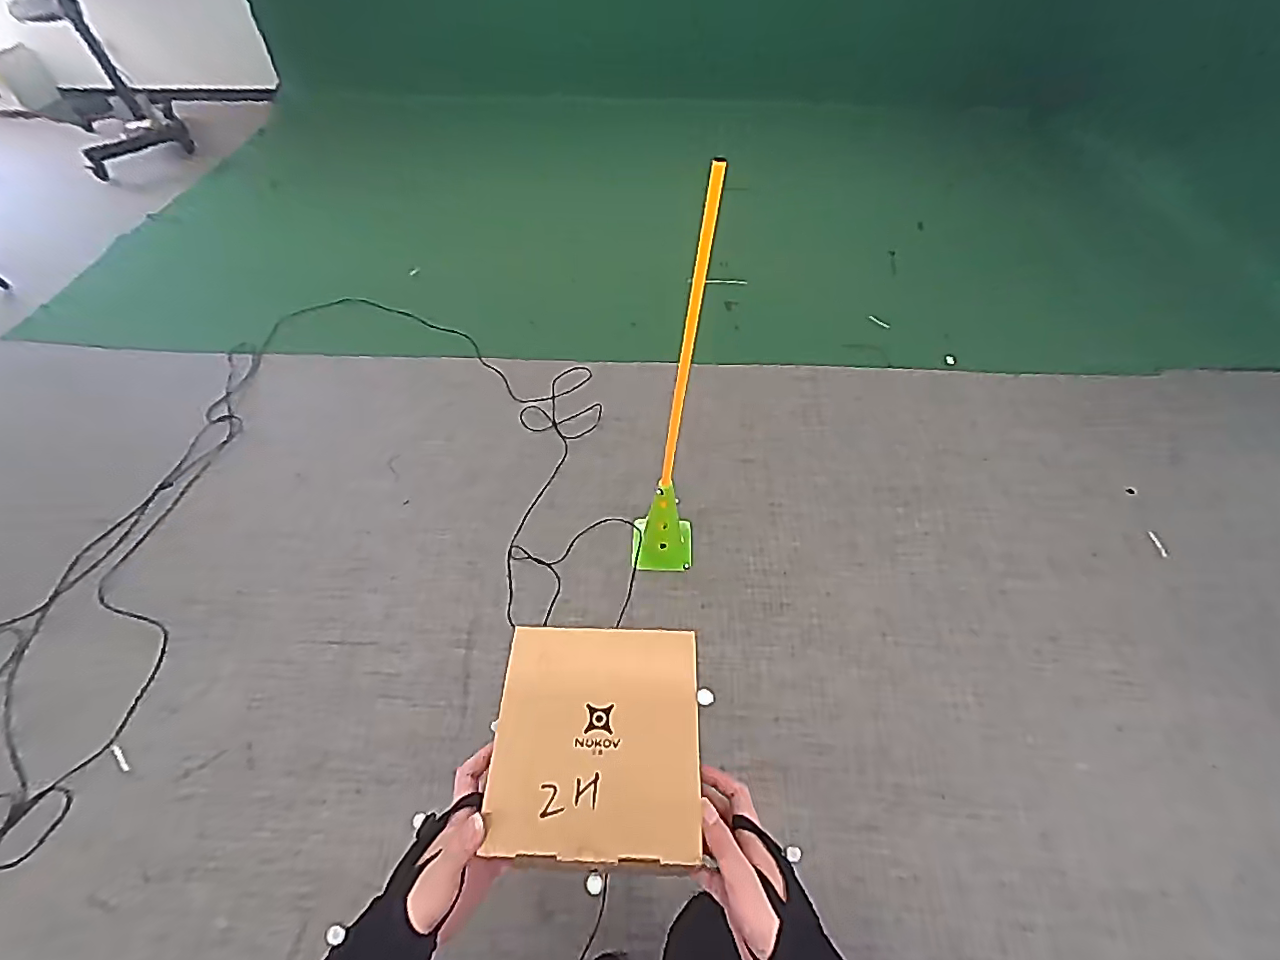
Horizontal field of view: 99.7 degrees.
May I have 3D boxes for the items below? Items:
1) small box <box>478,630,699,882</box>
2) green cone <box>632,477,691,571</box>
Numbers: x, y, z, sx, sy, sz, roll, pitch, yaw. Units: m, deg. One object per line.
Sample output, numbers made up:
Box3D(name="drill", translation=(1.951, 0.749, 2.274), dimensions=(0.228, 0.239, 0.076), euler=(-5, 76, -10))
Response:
Box3D(name="small box", translation=(-0.035, 0.261, 0.508), dimensions=(0.168, 0.176, 0.179), euler=(2, 52, 2))
Box3D(name="green cone", translation=(0.072, 0.114, 1.716), dimensions=(0.202, 0.368, 0.200), euler=(1, 52, 2))
